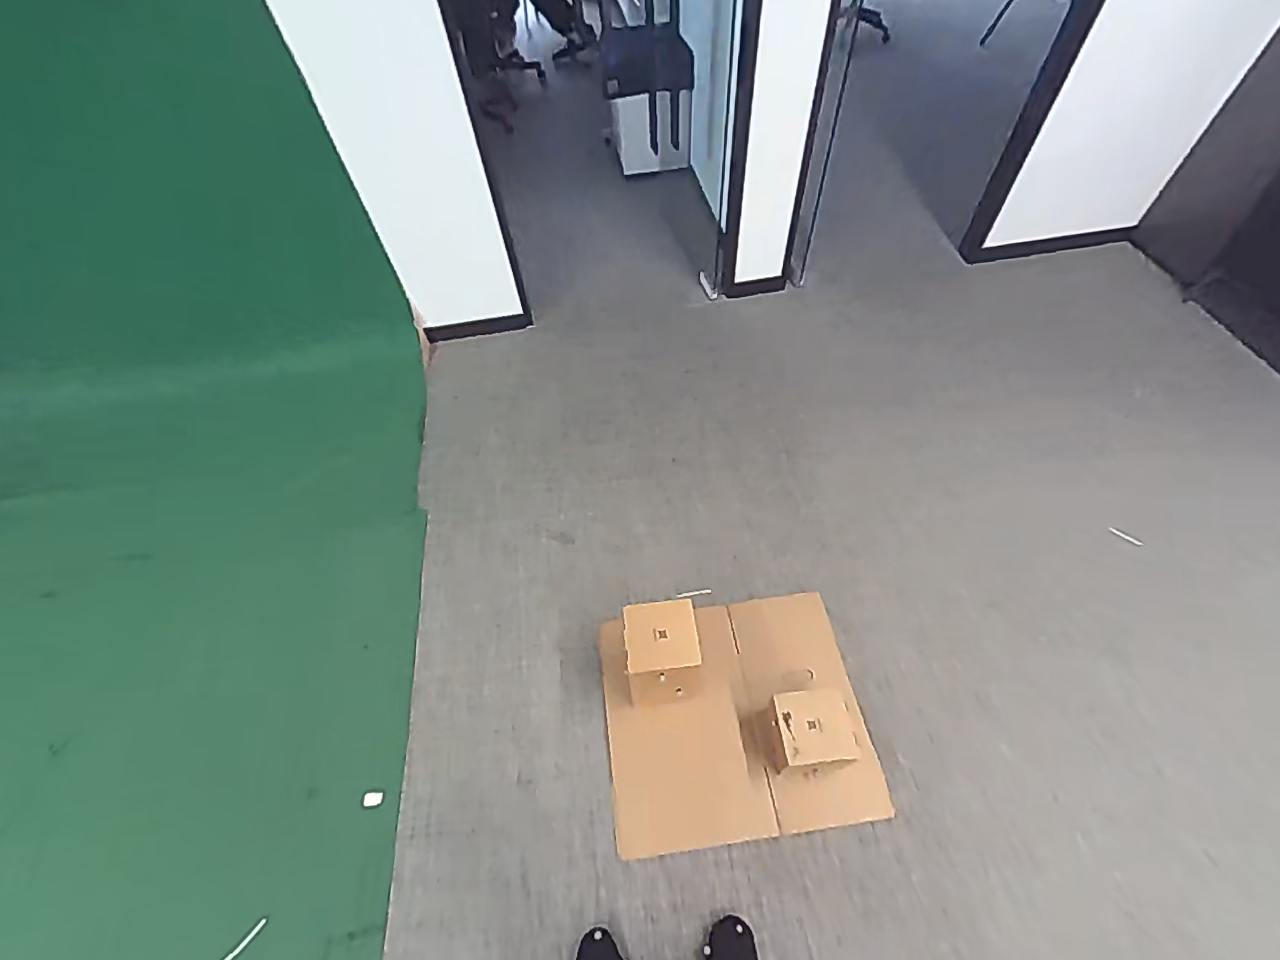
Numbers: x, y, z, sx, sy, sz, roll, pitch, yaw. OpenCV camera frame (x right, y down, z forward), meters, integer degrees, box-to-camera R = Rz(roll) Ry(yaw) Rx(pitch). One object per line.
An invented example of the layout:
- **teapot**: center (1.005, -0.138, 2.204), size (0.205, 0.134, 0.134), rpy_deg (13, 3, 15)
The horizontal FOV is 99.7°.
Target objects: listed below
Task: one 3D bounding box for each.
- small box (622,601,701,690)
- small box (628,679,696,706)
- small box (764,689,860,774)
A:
- **small box**: center (0.052, 0.418, 1.360), size (0.179, 0.176, 0.168), rpy_deg (-7, 55, -1)
- **small box**: center (0.054, 0.512, 1.492), size (0.179, 0.176, 0.168), rpy_deg (-7, 54, -1)
- **small box**: center (0.429, 0.645, 1.379), size (0.179, 0.176, 0.168), rpy_deg (-5, 54, 0)
